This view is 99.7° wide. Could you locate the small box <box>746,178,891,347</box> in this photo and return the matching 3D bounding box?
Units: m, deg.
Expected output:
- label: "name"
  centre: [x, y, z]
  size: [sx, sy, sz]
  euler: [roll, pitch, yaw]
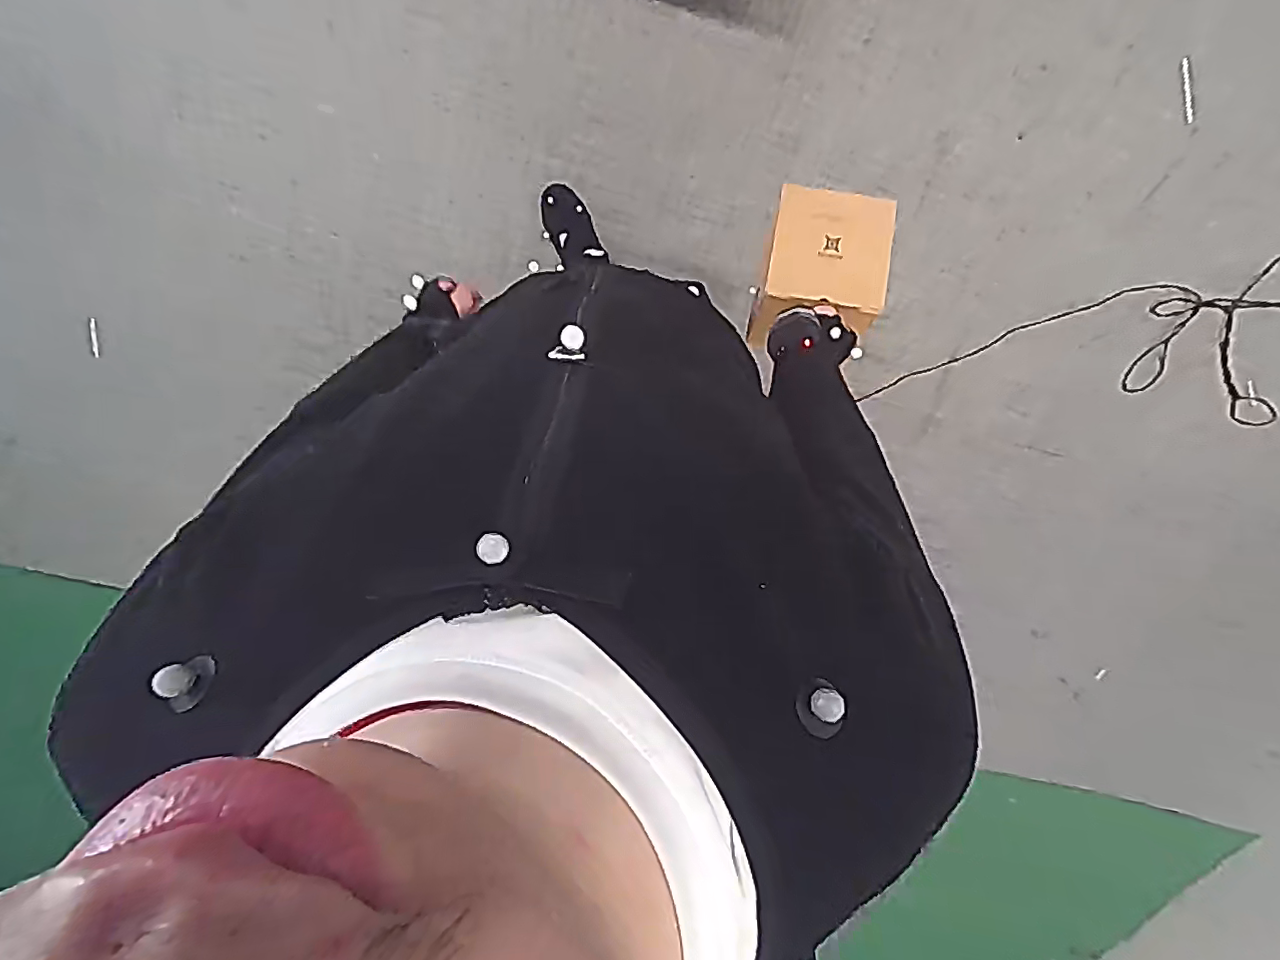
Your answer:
- label: "small box"
  centre: [0.265, -0.325, 0.838]
  size: [0.168, 0.176, 0.179]
  euler: [9, 80, 3]
